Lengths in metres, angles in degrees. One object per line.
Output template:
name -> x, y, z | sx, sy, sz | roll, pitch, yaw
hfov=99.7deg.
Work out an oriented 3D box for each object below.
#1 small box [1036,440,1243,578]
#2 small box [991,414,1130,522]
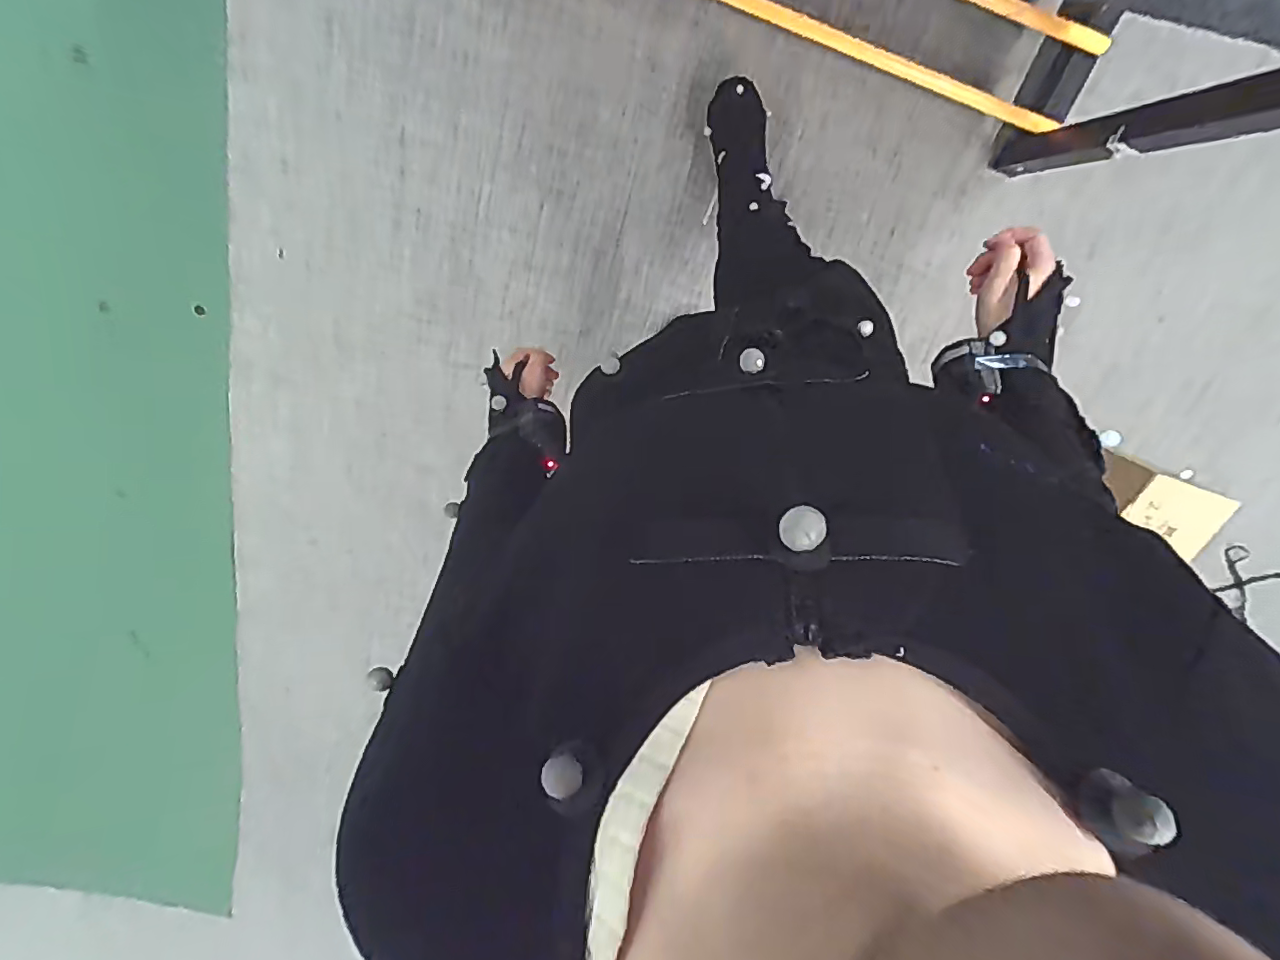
small box -> 0.884, 0.045, 0.978 | 0.179, 0.176, 0.168 | 17, 113, -8
small box -> 0.883, -0.016, 1.131 | 0.168, 0.176, 0.179 | 15, 113, -7
